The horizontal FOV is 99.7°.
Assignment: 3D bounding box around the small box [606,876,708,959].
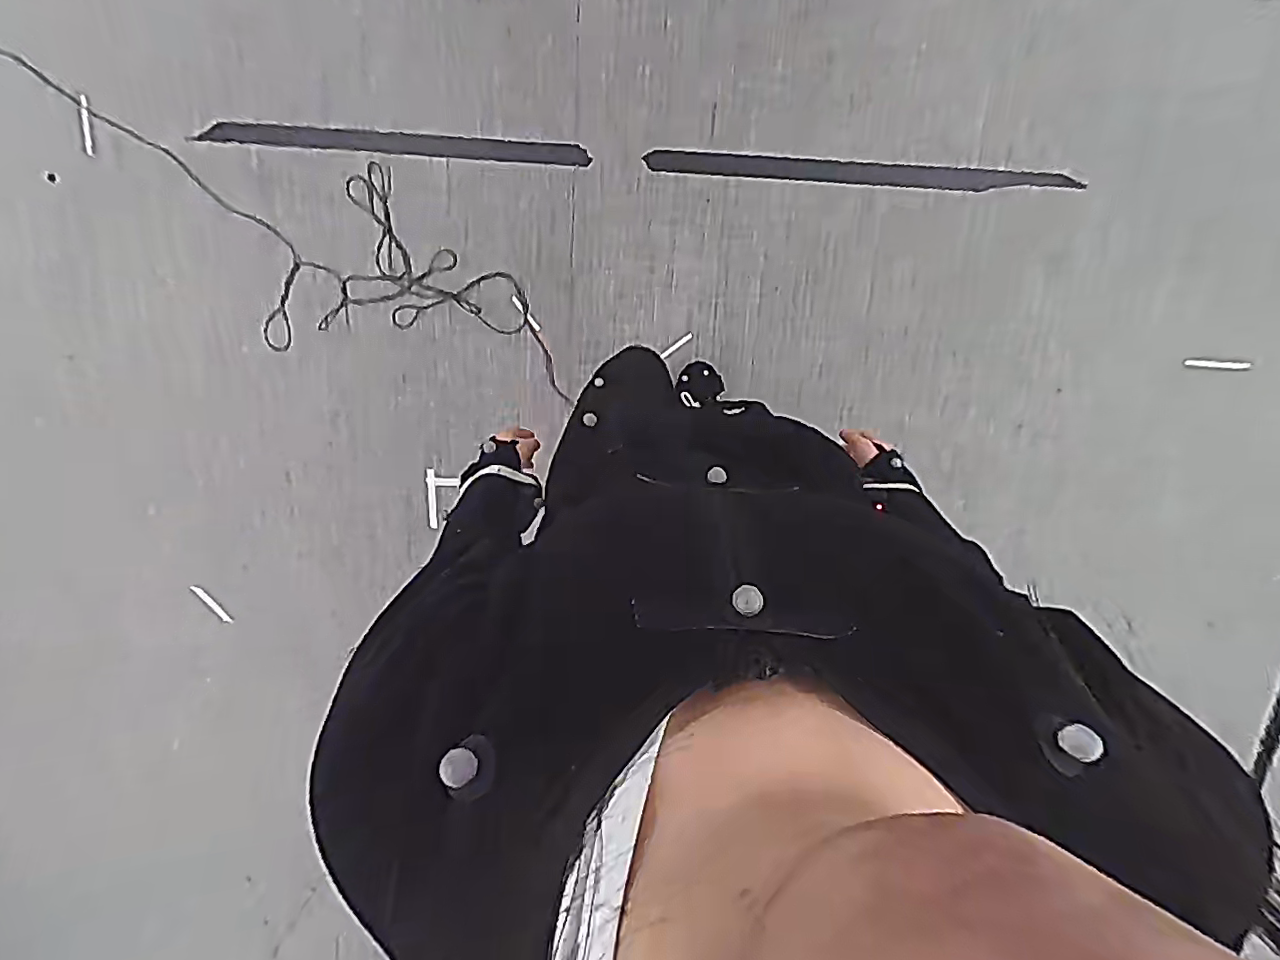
[{"bbox_3d":[0.025,0.878,0.992,0.168,0.176,0.179,10,102,2],"label":"small box"}]
